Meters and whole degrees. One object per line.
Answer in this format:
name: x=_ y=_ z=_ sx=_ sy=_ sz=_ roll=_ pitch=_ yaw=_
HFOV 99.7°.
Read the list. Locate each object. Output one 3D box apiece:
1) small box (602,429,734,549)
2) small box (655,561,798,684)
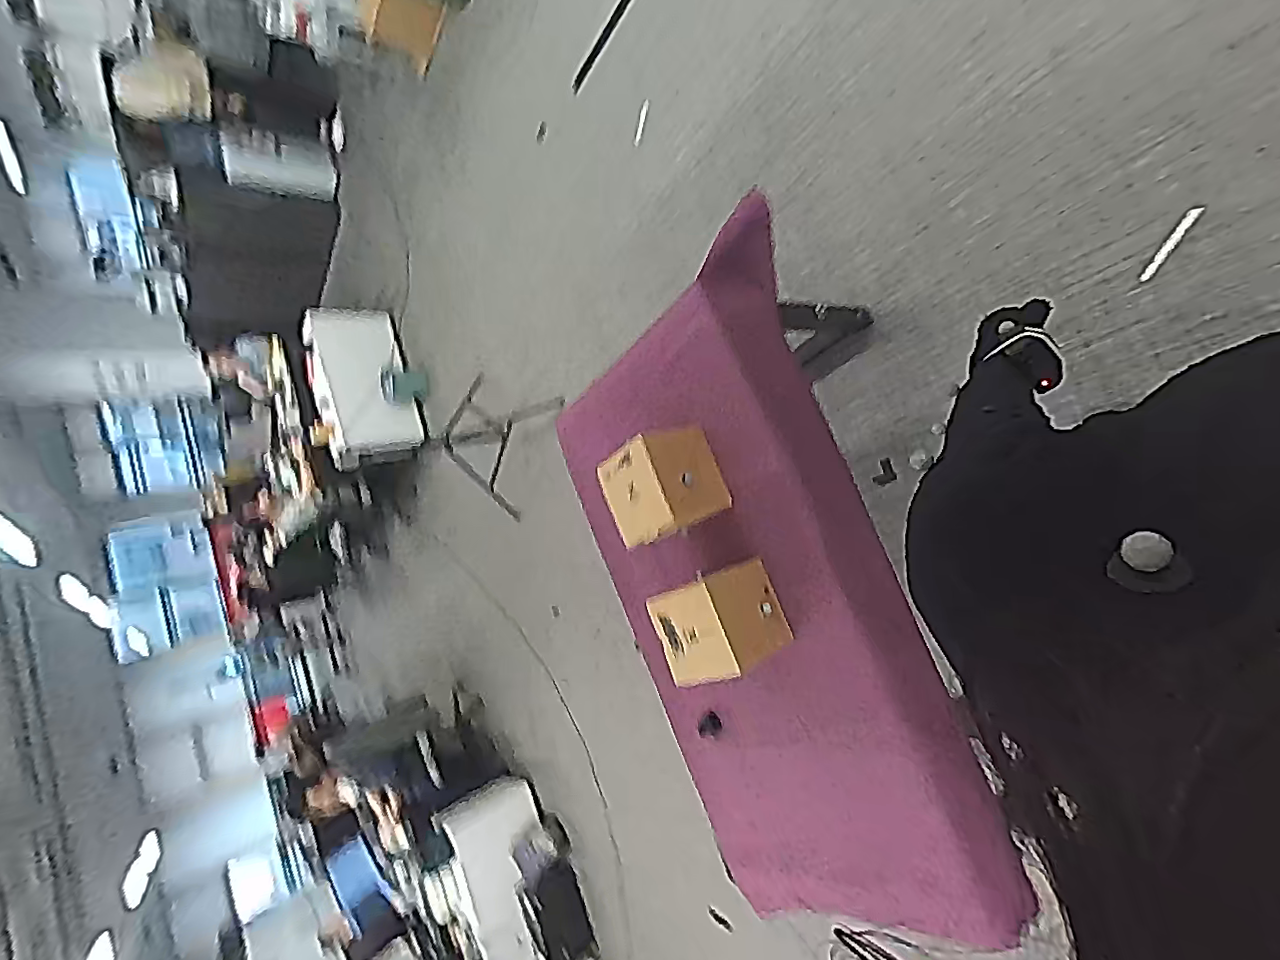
small box: x=0.059 y=0.015 z=1.085 sx=0.168 sy=0.176 sz=0.179 roll=-36 pitch=74 yaw=48
small box: x=0.164 y=0.270 z=1.029 sx=0.179 sy=0.176 sz=0.168 roll=-35 pitch=74 yaw=48
